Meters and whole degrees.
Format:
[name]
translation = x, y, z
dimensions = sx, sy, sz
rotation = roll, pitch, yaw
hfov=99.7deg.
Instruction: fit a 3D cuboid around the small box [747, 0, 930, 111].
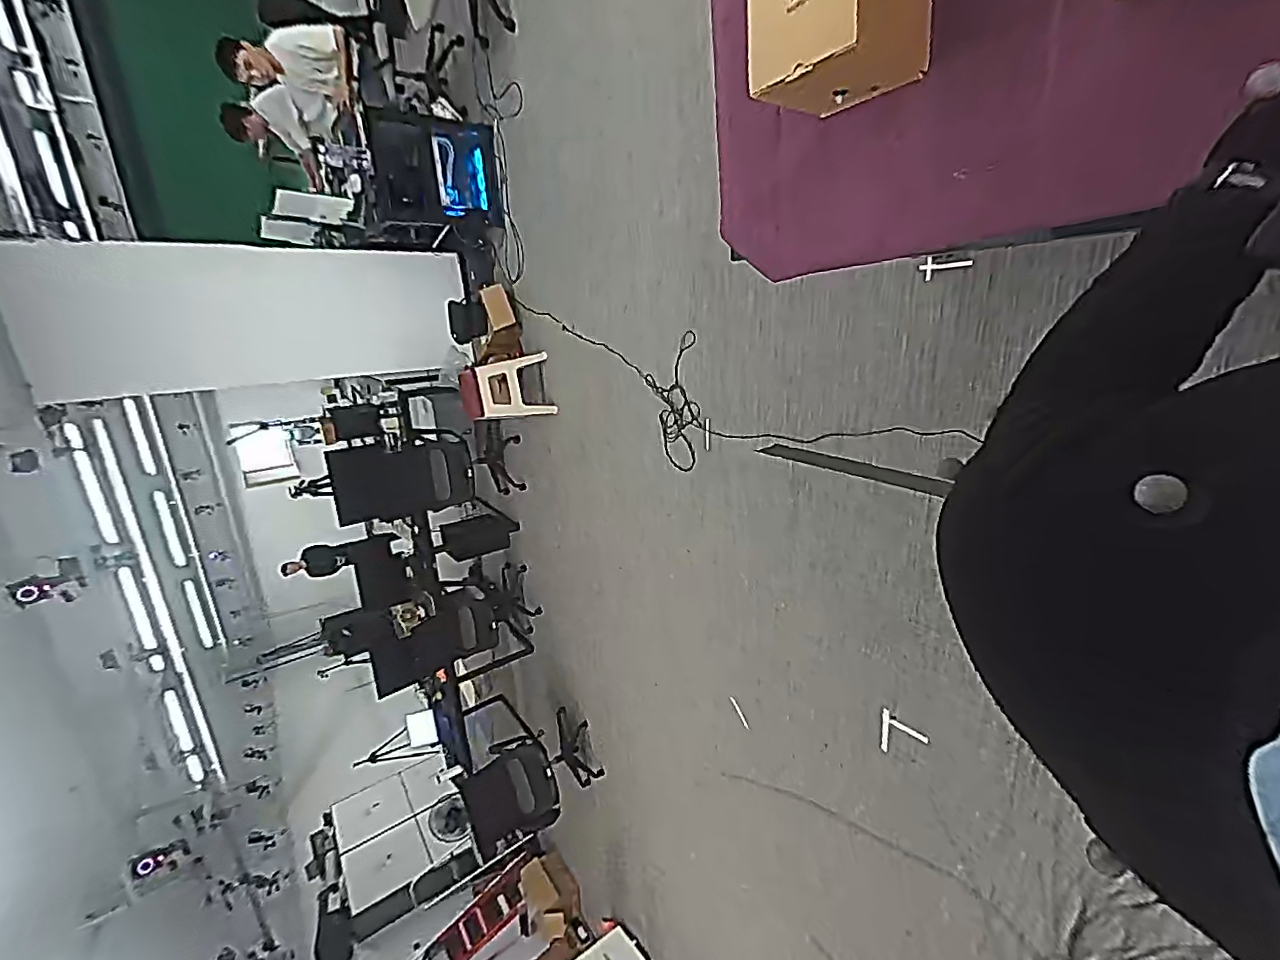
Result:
[small box]
translation = 0.257, -0.614, 0.702
dimensions = 0.168, 0.176, 0.179
rotation = 16, 117, 52
